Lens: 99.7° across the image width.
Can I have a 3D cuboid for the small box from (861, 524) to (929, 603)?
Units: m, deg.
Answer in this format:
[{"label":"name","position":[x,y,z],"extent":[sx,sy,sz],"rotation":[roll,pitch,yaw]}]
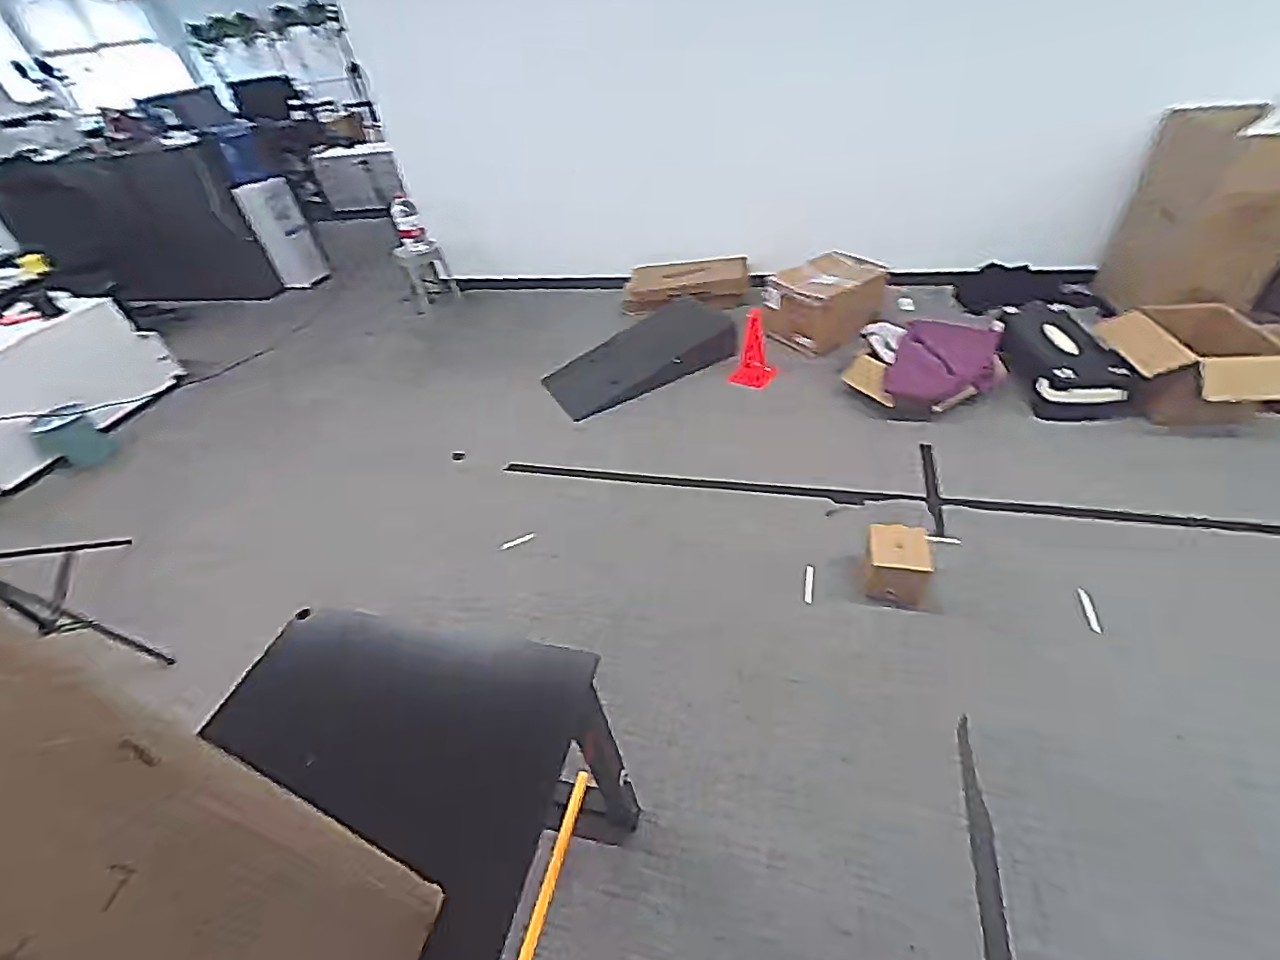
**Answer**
[{"label":"small box","position":[0.803,0.265,1.719],"extent":[0.168,0.176,0.179],"rotation":[3,44,15]}]
